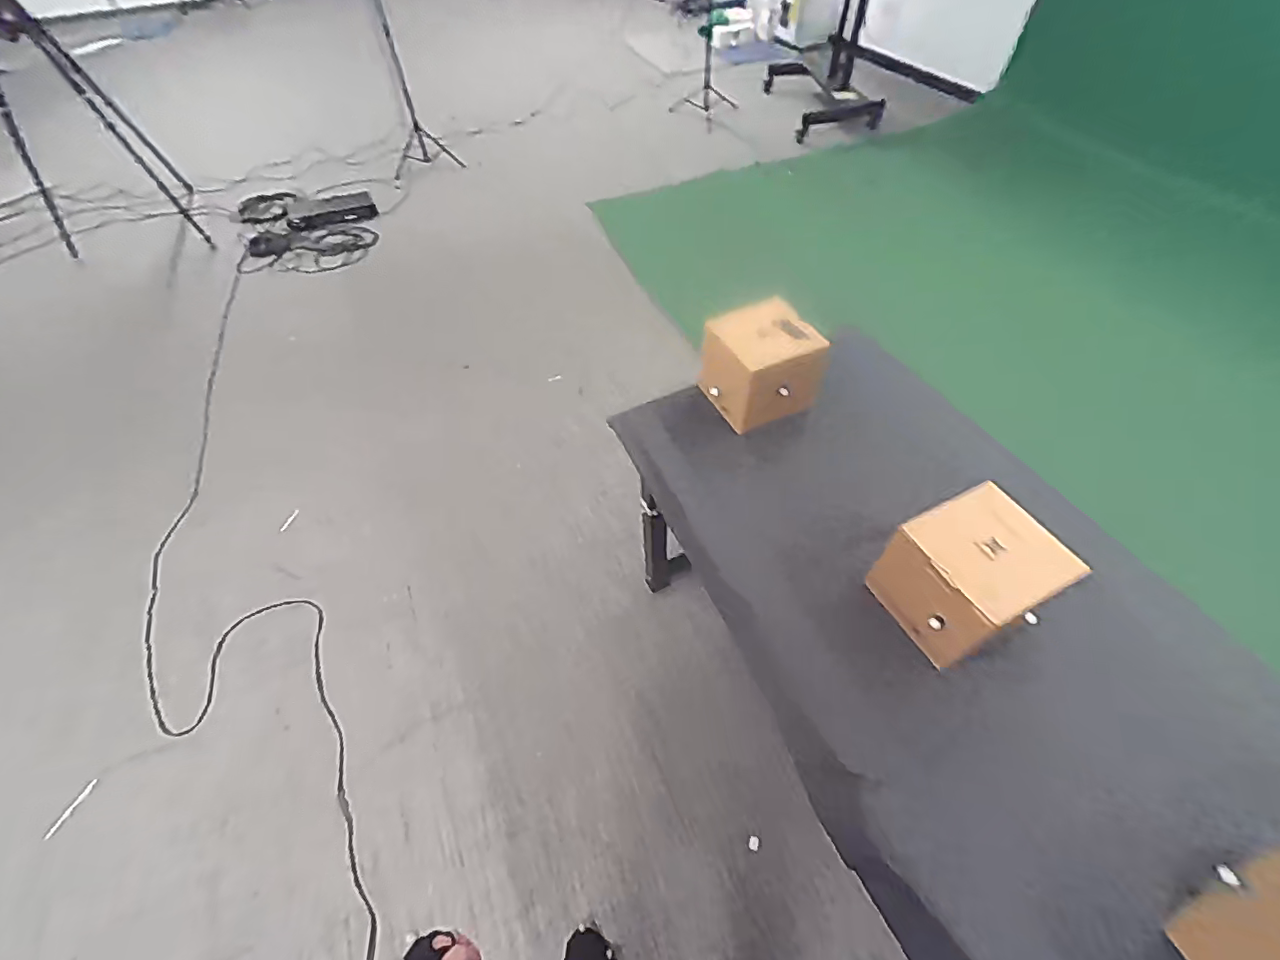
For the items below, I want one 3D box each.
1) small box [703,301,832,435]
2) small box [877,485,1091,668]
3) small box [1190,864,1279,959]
[{"bbox_3d":[0.240,-0.219,1.068,0.179,0.176,0.168,-21,54,-15],"label":"small box"},{"bbox_3d":[0.470,0.142,0.778,0.179,0.176,0.168,-22,55,-16],"label":"small box"},{"bbox_3d":[0.685,0.478,0.499,0.179,0.176,0.168,-20,53,-13],"label":"small box"}]
